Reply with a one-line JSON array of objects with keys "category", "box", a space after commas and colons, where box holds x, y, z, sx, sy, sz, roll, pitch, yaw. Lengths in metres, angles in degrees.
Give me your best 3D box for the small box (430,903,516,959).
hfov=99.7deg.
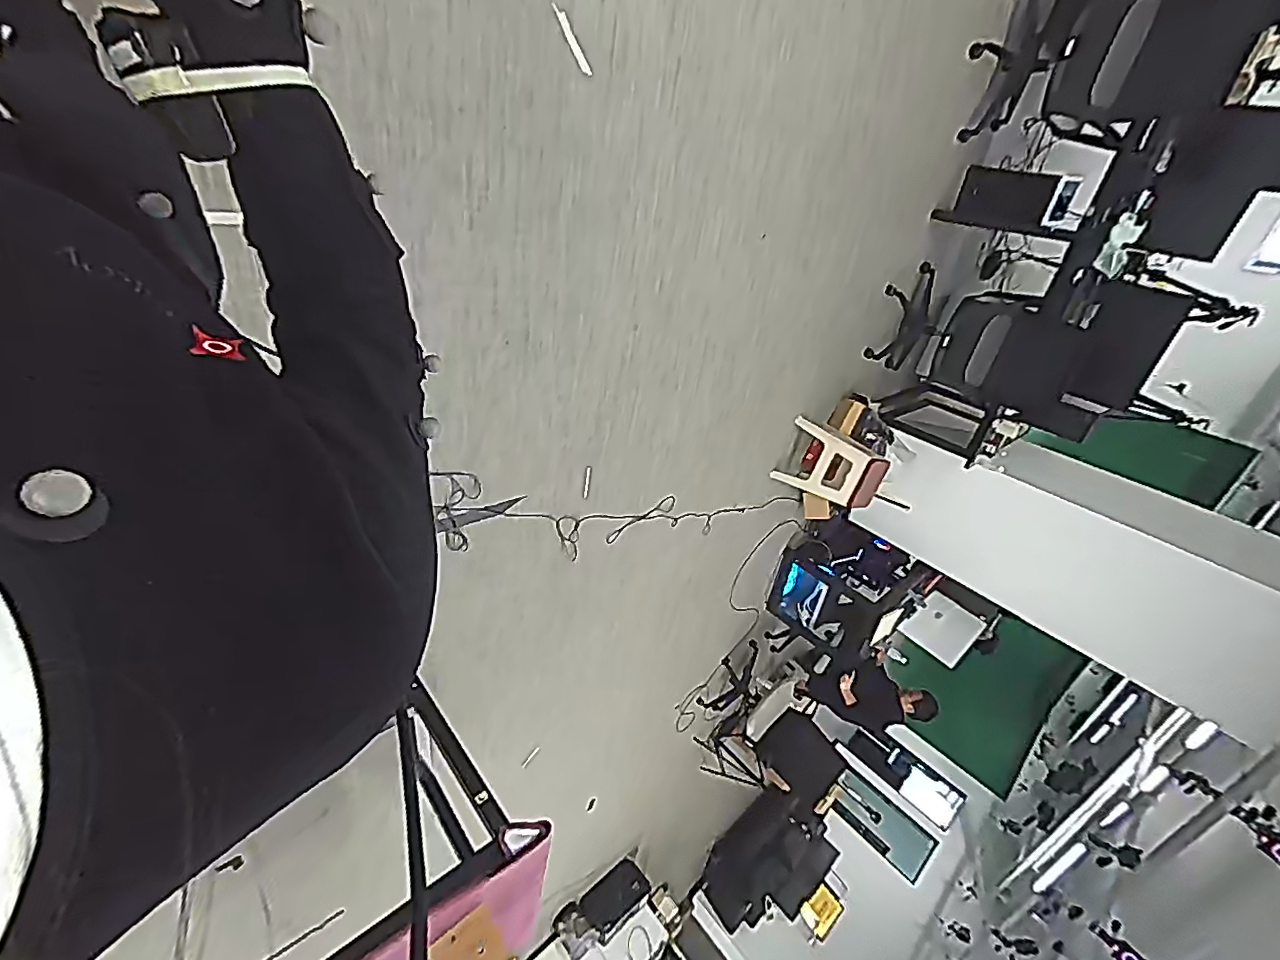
[{"category": "small box", "box": [-0.441, 1.288, 1.442, 0.168, 0.176, 0.179, -25, 133, -34]}]
